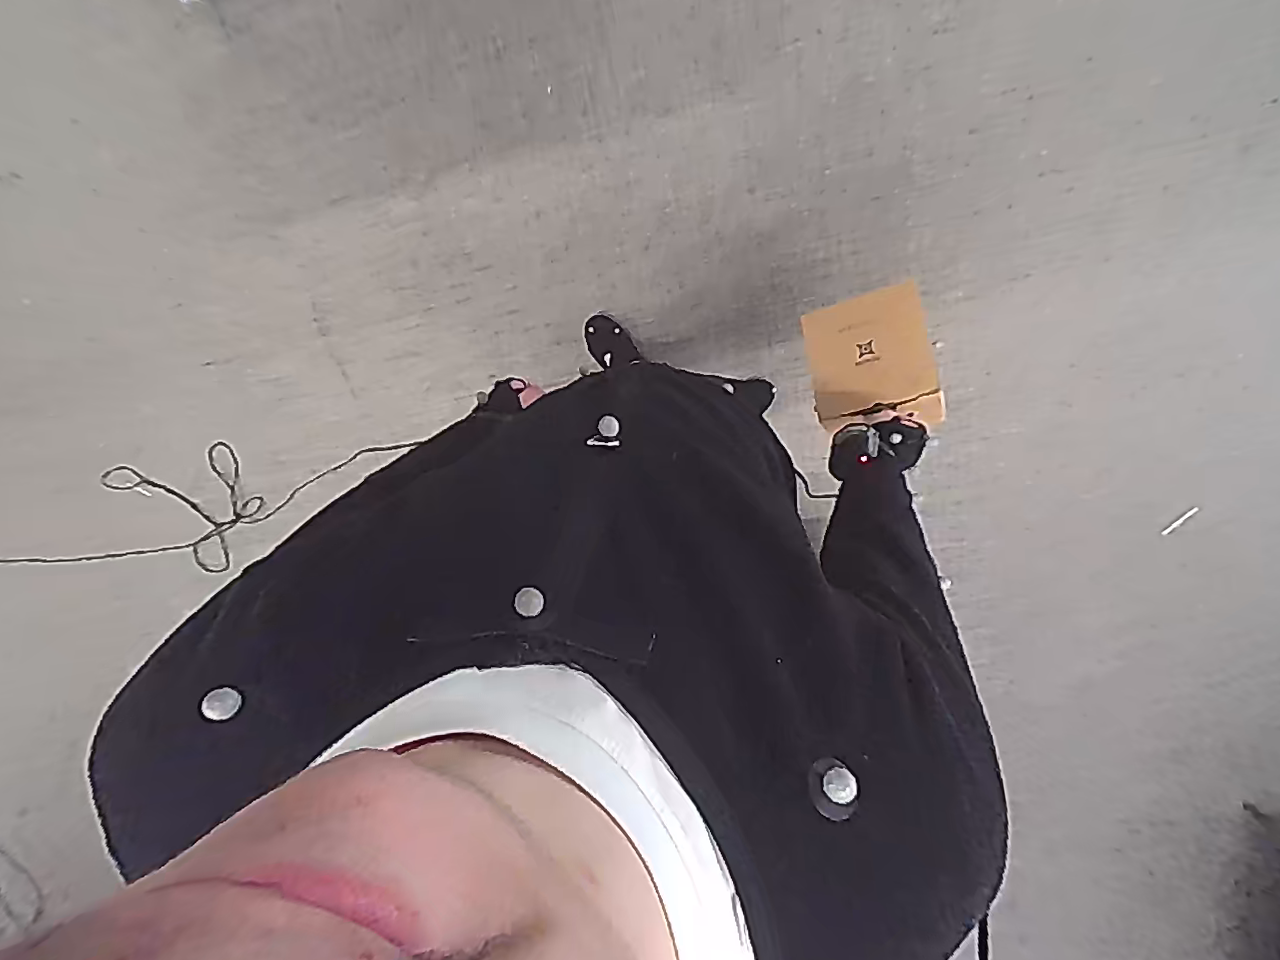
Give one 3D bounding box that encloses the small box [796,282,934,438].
[{"bbox_3d":[0.358,-0.172,0.851,0.168,0.176,0.179,-12,75,25],"label":"small box"}]
